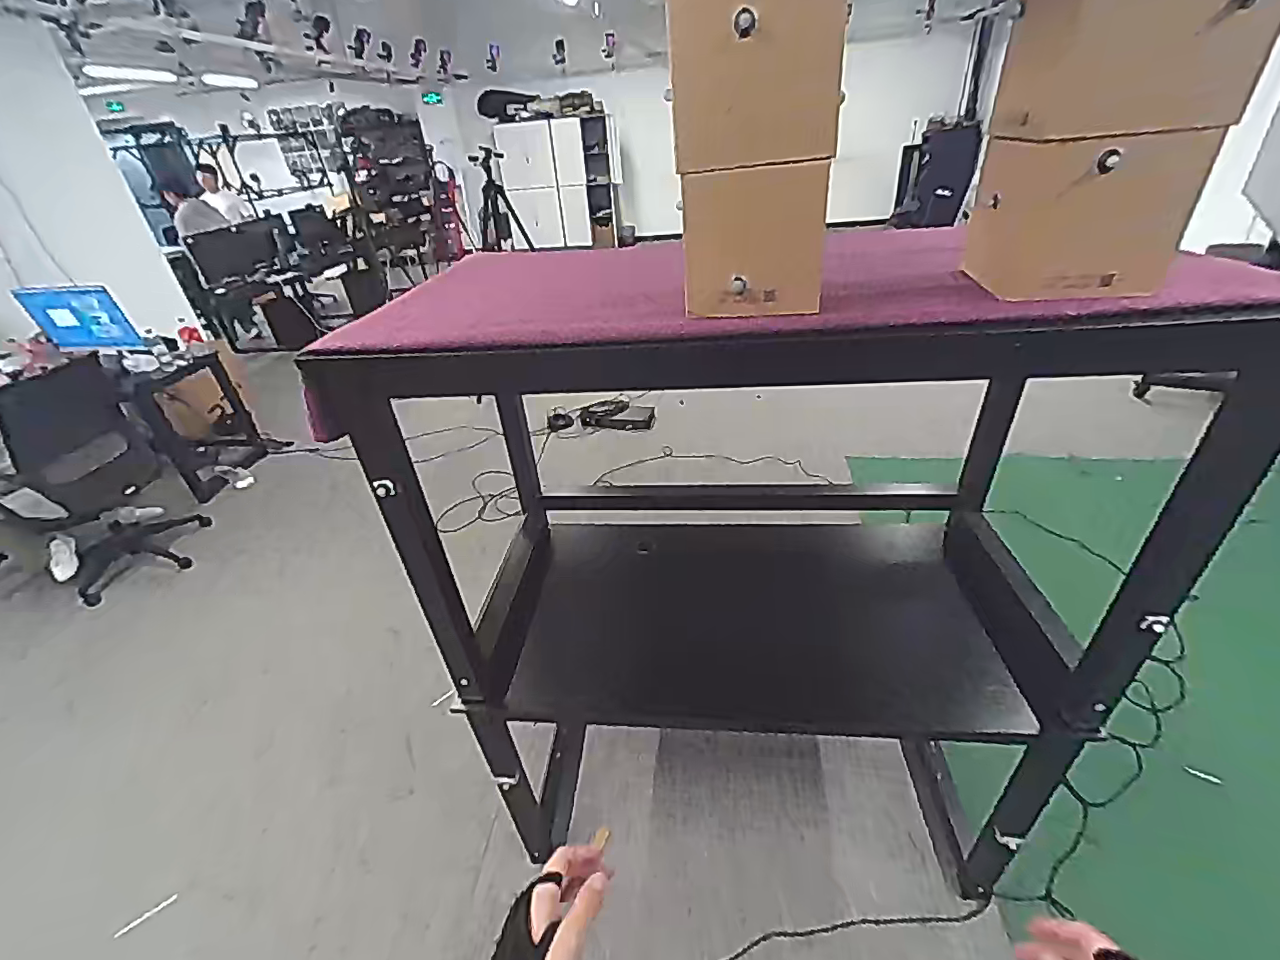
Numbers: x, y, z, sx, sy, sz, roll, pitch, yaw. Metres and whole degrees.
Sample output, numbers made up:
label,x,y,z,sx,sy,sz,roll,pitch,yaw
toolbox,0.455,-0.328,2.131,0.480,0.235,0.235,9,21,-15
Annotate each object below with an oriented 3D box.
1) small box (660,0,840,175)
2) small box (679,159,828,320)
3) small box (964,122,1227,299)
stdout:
label,x,y,z,sx,sy,sz,roll,pitch,yaw
small box,0.124,-0.451,0.615,0.179,0.176,0.168,-1,32,10
small box,0.143,-0.315,0.705,0.168,0.176,0.179,0,33,11
small box,0.521,-0.326,0.658,0.168,0.176,0.179,0,33,11
